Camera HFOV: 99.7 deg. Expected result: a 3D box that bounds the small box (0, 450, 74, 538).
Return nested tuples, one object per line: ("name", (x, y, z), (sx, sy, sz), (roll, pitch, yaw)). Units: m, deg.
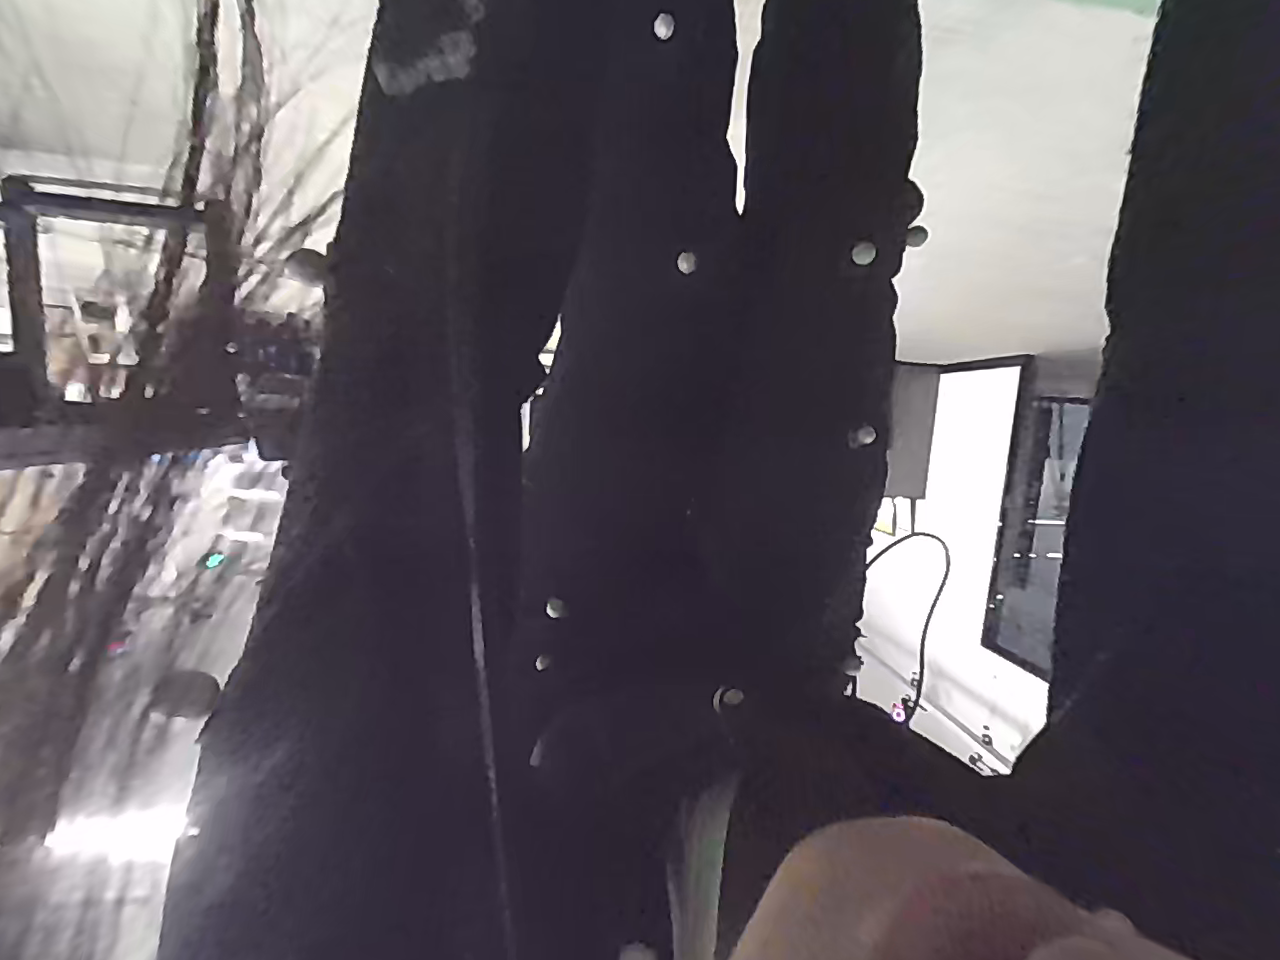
("small box", (-1.411, 0.026, 1.188), (0.179, 0.176, 0.168), (3, -173, -10))
